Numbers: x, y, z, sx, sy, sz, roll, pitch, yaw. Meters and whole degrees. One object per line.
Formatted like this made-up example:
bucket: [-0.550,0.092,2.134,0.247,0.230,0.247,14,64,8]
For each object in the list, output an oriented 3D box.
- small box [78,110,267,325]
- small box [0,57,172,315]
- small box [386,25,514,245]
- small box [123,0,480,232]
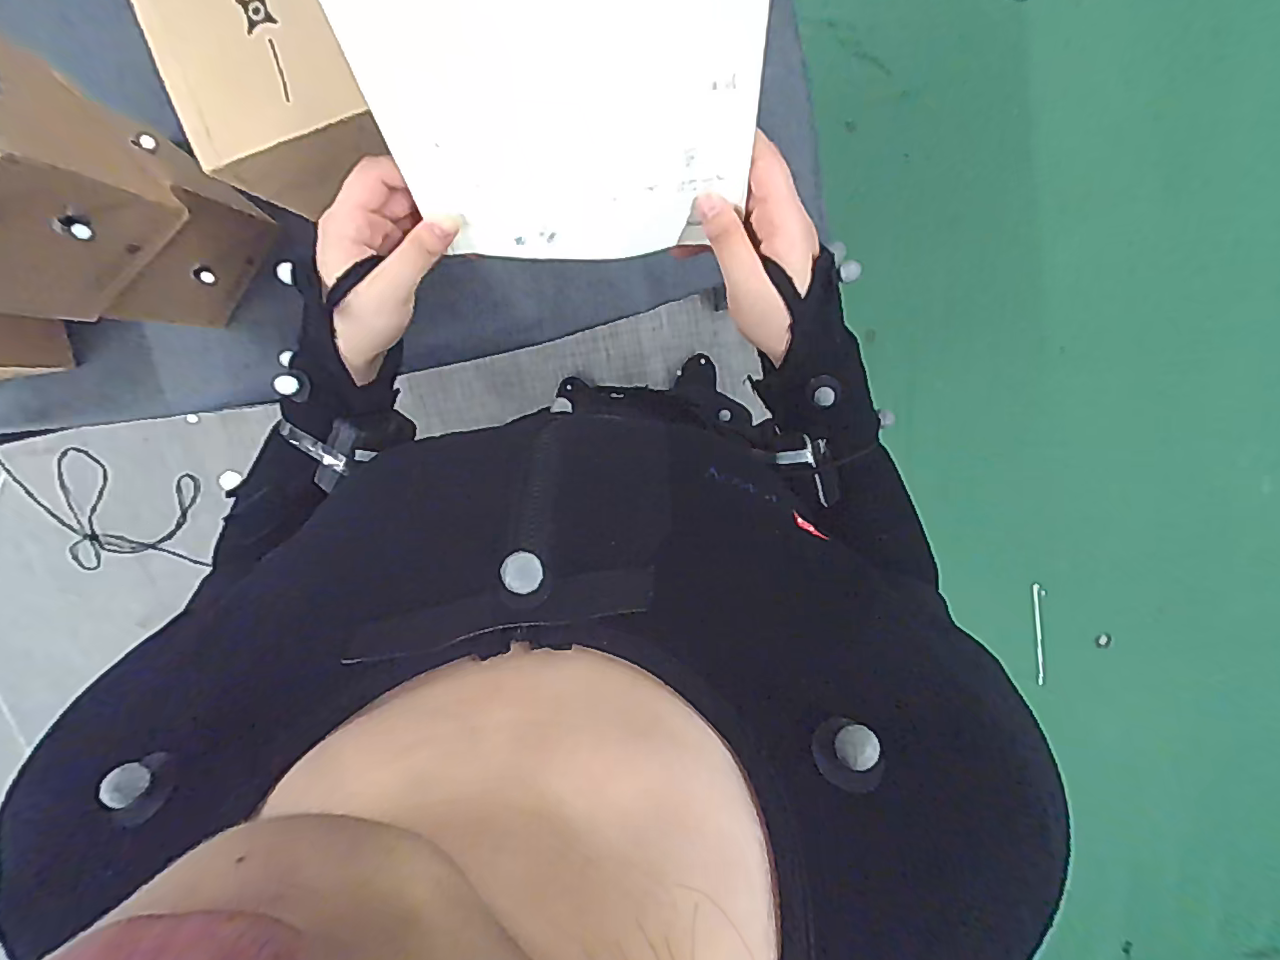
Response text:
small box: [-0.588,-0.296,0.622,0.179,0.176,0.168,37,99,-6]
small box: [-0.575,-0.260,0.463,0.168,0.176,0.179,-40,97,7]
small box: [-0.255,-0.377,0.595,0.179,0.176,0.168,17,101,-1]
small box: [-0.255,-0.331,0.437,0.168,0.176,0.179,-16,100,6]
